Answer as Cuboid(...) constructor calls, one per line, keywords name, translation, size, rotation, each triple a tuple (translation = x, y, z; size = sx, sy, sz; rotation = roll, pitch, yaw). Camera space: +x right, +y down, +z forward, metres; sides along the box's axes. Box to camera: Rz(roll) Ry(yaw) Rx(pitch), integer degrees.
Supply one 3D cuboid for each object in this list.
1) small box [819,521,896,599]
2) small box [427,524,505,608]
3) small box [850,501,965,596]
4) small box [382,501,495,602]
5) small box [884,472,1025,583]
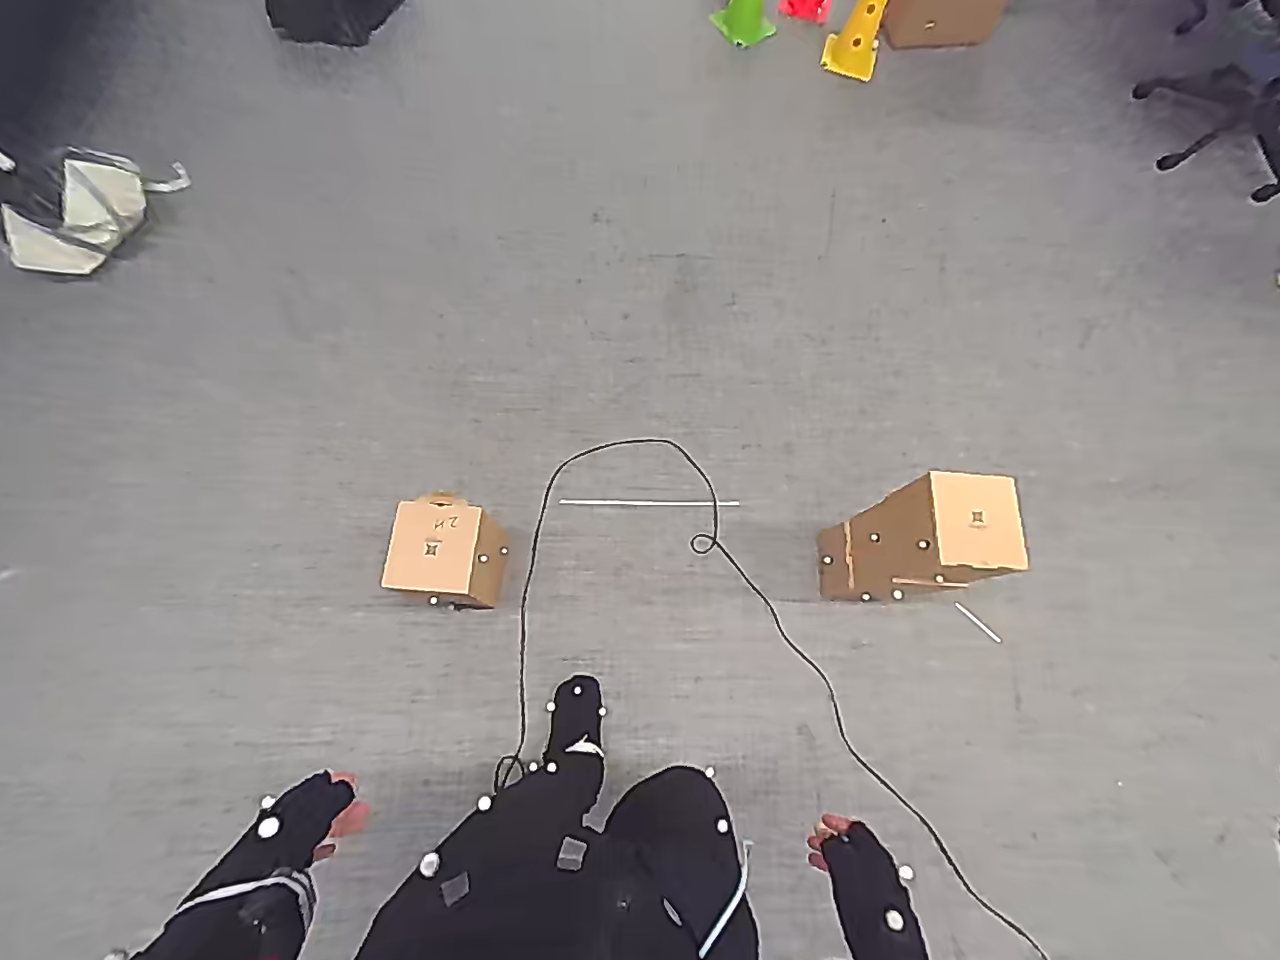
Cuboid(name="small box", translation=(0.562, 0.207, 1.358), size=(0.179, 0.176, 0.168), rotation=(4, 72, -4))
Cuboid(name="small box", translation=(-0.420, 0.198, 1.269), size=(0.168, 0.176, 0.179), rotation=(7, 71, -2))
Cuboid(name="small box", translation=(0.583, 0.157, 1.202), size=(0.168, 0.176, 0.179), rotation=(5, 72, -4))
Cuboid(name="small box", translation=(-0.407, 0.157, 1.128), size=(0.168, 0.176, 0.179), rotation=(5, 71, -2))
Cuboid(name="small box", translation=(0.596, 0.098, 1.051), size=(0.168, 0.176, 0.179), rotation=(4, 72, -4))
